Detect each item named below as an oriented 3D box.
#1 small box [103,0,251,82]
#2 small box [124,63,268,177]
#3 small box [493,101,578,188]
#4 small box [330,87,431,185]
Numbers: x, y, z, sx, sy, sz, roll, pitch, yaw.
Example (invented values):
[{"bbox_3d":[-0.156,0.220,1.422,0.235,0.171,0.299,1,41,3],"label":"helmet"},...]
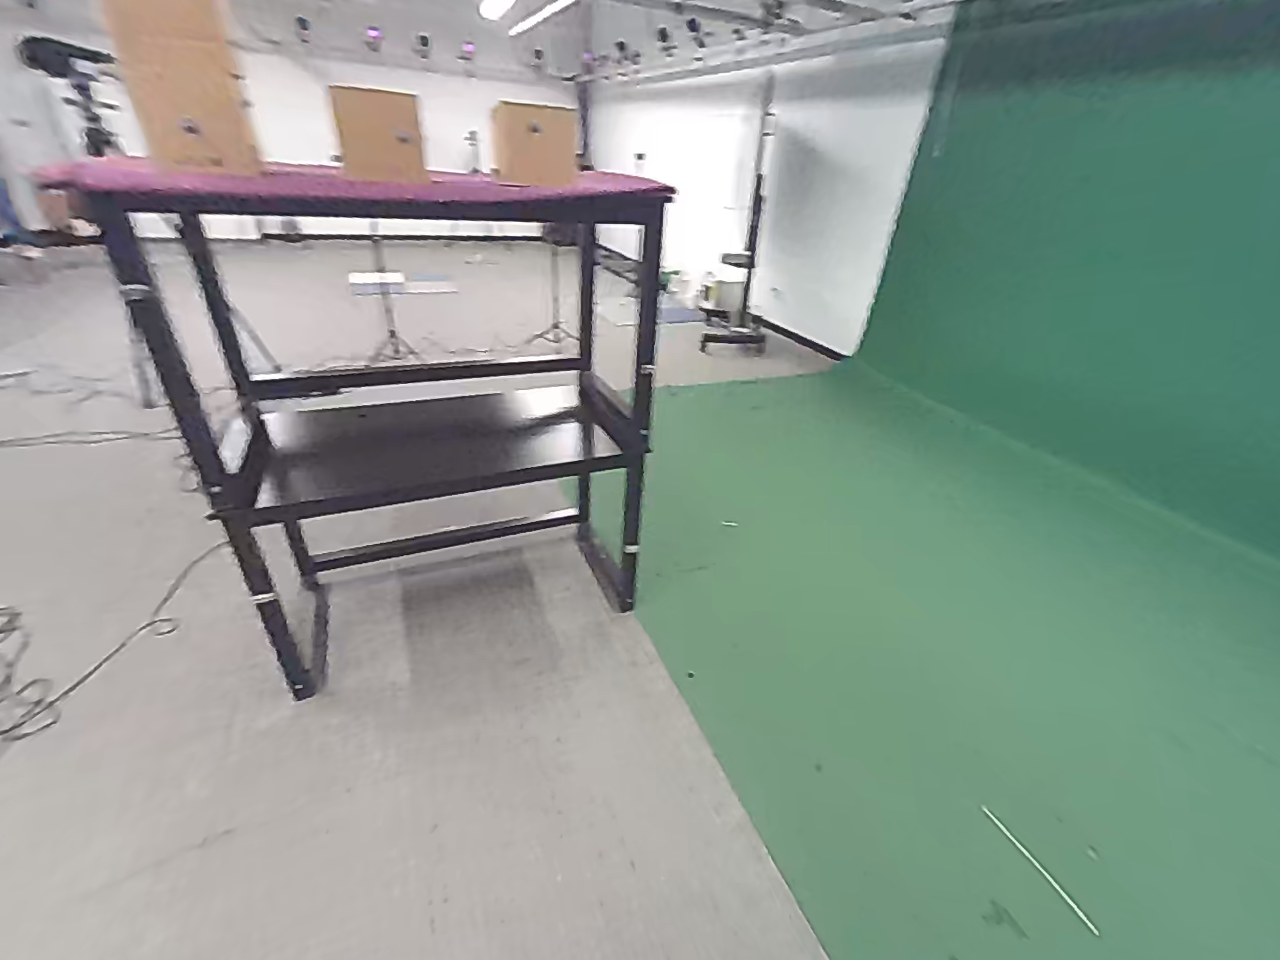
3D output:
[{"bbox_3d":[-0.843,-0.841,0.981,0.179,0.176,0.168,-10,35,-24],"label":"small box"},{"bbox_3d":[-0.856,-0.702,1.065,0.168,0.176,0.179,-9,34,-23],"label":"small box"},{"bbox_3d":[-0.257,-0.823,1.340,0.179,0.176,0.168,-9,32,-21],"label":"small box"},{"bbox_3d":[-0.566,-0.754,1.193,0.179,0.176,0.168,-11,34,-22],"label":"small box"}]
